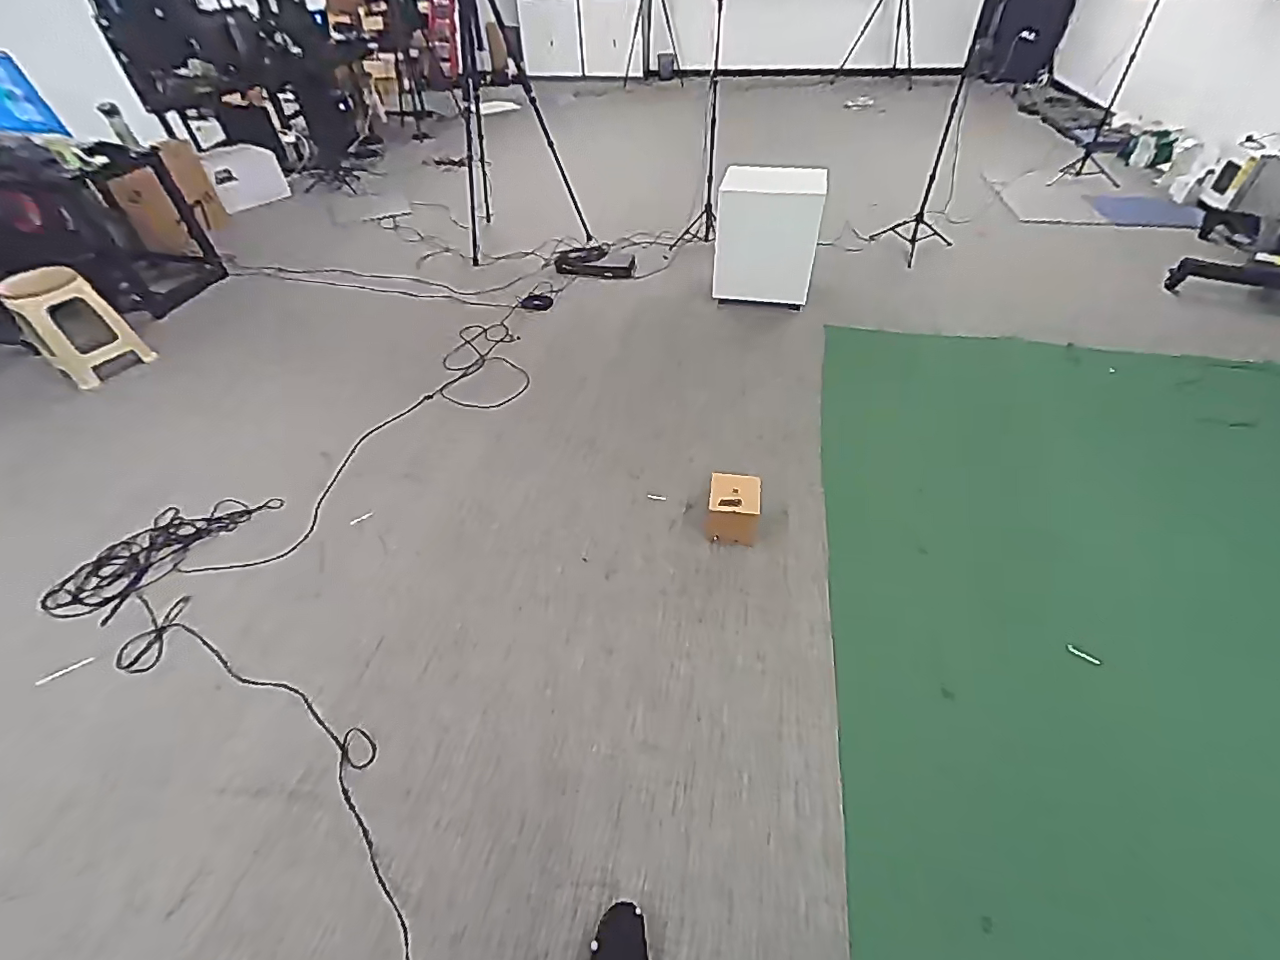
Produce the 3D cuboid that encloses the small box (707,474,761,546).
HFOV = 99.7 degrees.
[{"bbox_3d":[0.321,0.106,1.852,0.168,0.176,0.179,6,45,8],"label":"small box"}]
